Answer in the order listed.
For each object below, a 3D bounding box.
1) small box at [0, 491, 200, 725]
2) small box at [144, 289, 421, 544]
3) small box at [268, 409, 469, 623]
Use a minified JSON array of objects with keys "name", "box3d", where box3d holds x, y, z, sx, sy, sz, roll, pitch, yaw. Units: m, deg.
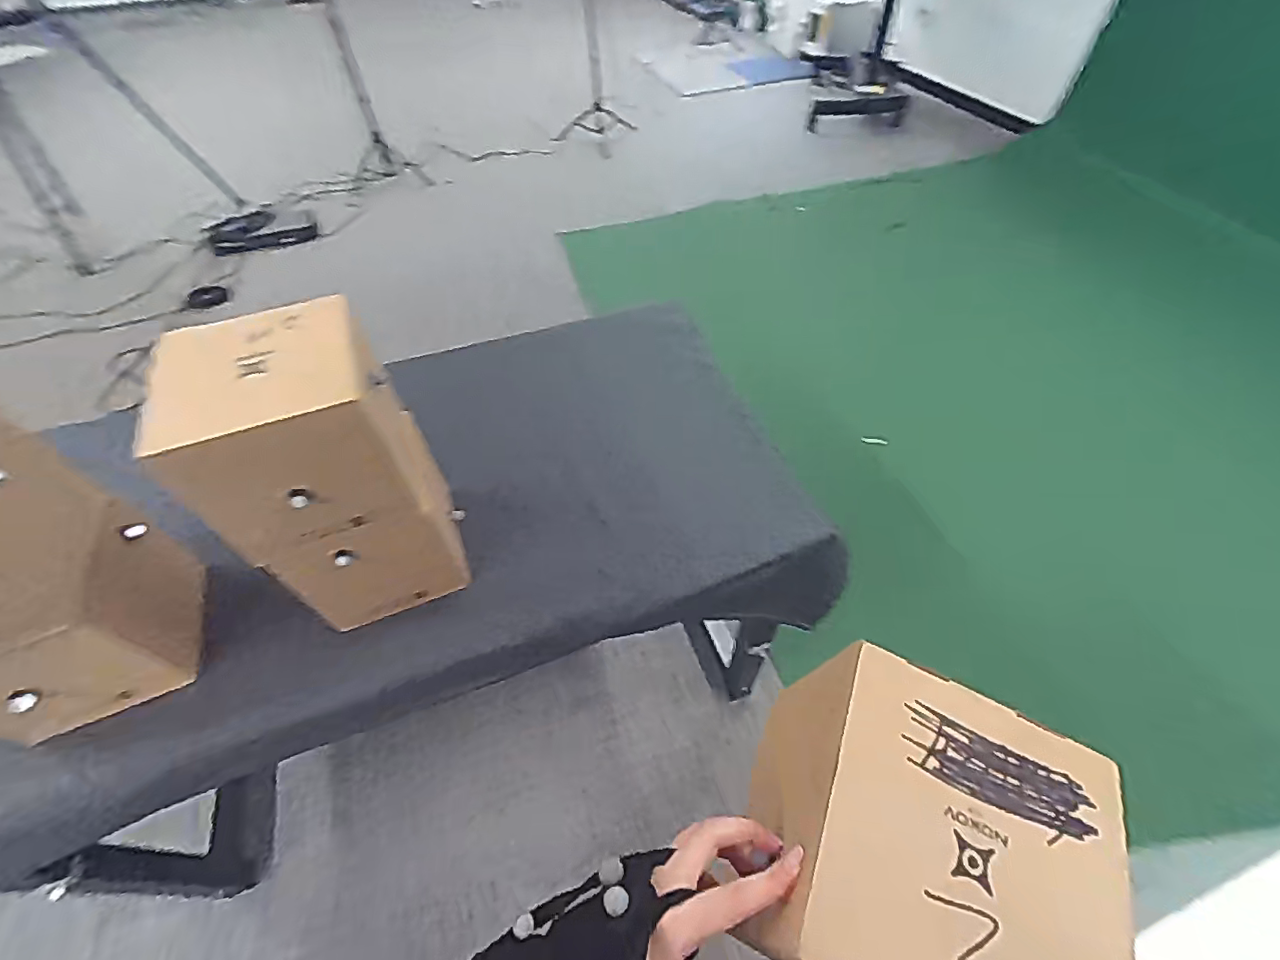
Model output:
[{"name":"small box","box3d":[-0.628,0.147,0.597,0.168,0.176,0.179,-18,53,-15]},{"name":"small box","box3d":[-0.335,-0.056,0.540,0.168,0.176,0.179,-18,53,-14]},{"name":"small box","box3d":[-0.327,0.045,0.672,0.168,0.176,0.179,-19,52,-13]}]
